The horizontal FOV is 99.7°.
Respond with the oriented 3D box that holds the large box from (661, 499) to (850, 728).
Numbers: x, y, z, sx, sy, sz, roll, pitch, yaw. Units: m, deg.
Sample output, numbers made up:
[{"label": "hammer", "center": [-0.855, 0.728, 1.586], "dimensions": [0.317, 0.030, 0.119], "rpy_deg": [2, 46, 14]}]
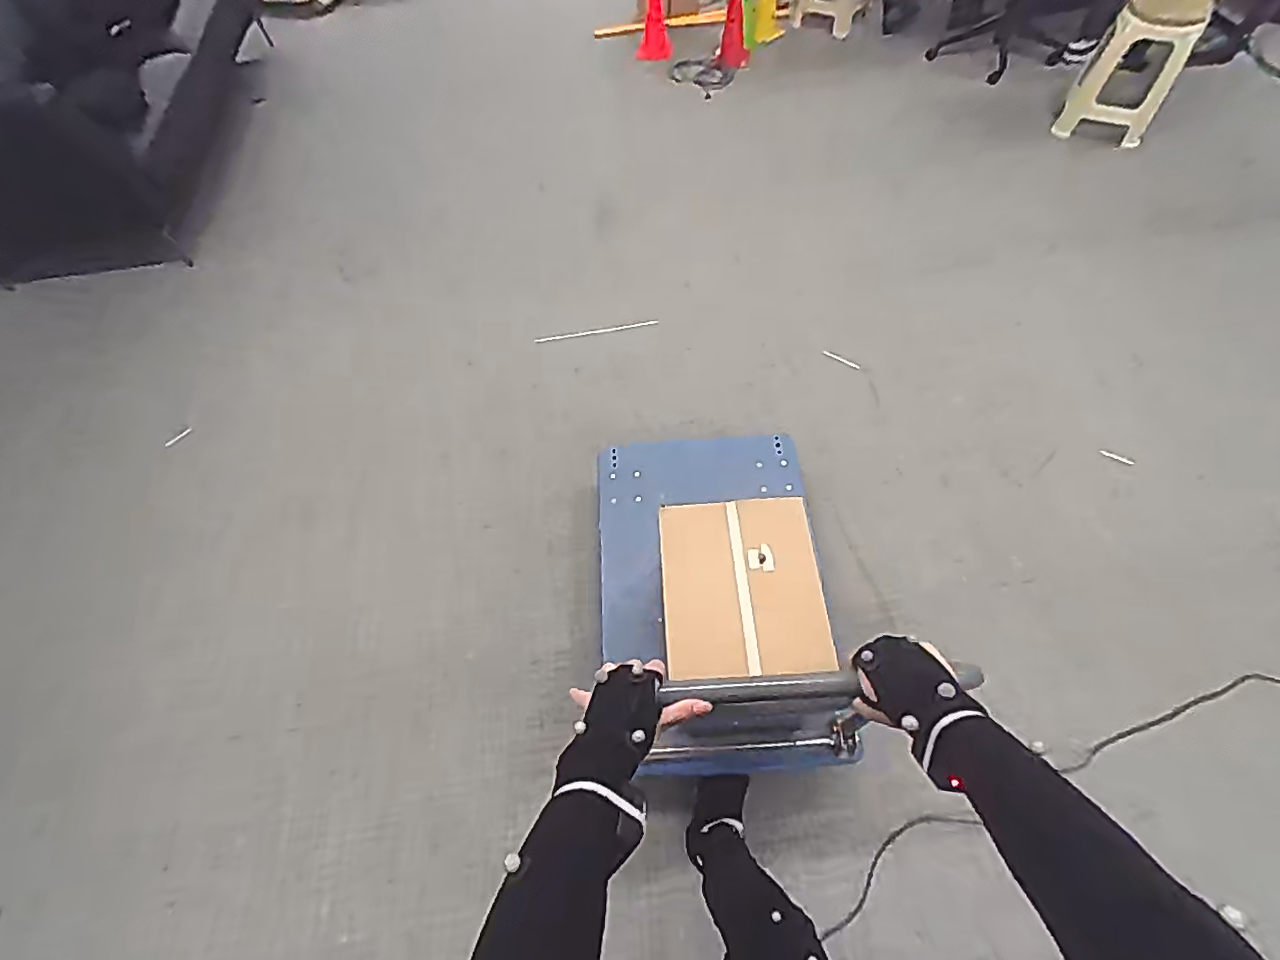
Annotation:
[{"label": "large box", "center": [0.221, 0.299, 1.186], "dimensions": [0.320, 0.320, 0.408], "rpy_deg": [-4, 59, 1]}]
